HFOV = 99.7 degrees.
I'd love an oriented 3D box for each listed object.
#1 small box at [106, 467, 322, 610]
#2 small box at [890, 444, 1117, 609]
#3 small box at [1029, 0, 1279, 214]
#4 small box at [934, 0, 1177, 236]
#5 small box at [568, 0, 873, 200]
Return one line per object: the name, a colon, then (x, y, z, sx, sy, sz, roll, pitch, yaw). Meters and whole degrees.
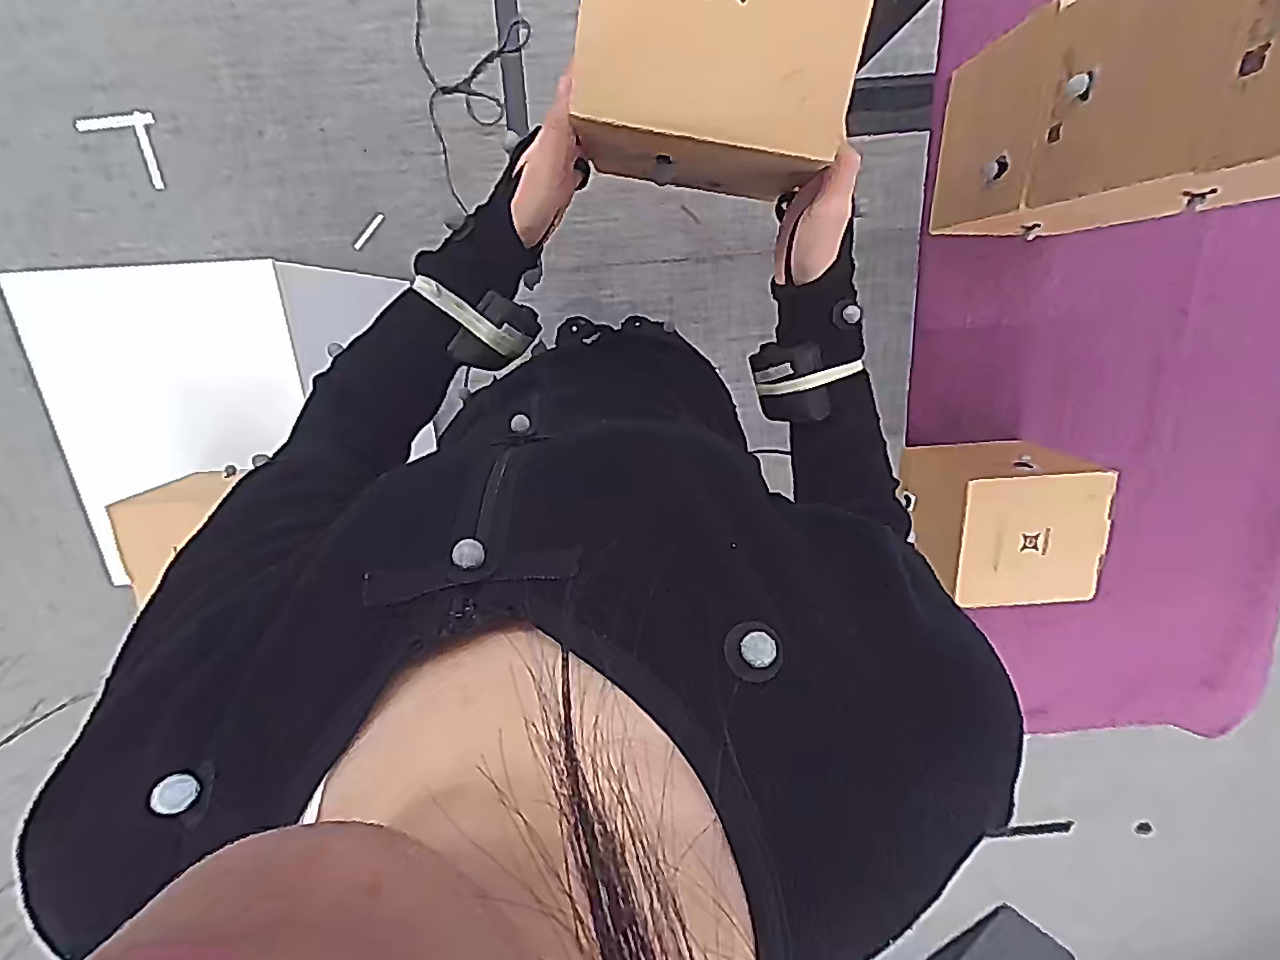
small box: (-0.628, 0.081, 0.821, 0.179, 0.176, 0.168, -3, 107, 0)
small box: (0.459, 0.051, 0.712, 0.179, 0.176, 0.168, -4, 106, 0)
small box: (0.464, -0.315, 0.426, 0.179, 0.176, 0.168, -1, 107, -1)
small box: (0.448, -0.366, 0.582, 0.168, 0.176, 0.179, 0, 107, -3)
small box: (0.053, -0.308, 0.371, 0.168, 0.176, 0.179, 9, 107, -1)
